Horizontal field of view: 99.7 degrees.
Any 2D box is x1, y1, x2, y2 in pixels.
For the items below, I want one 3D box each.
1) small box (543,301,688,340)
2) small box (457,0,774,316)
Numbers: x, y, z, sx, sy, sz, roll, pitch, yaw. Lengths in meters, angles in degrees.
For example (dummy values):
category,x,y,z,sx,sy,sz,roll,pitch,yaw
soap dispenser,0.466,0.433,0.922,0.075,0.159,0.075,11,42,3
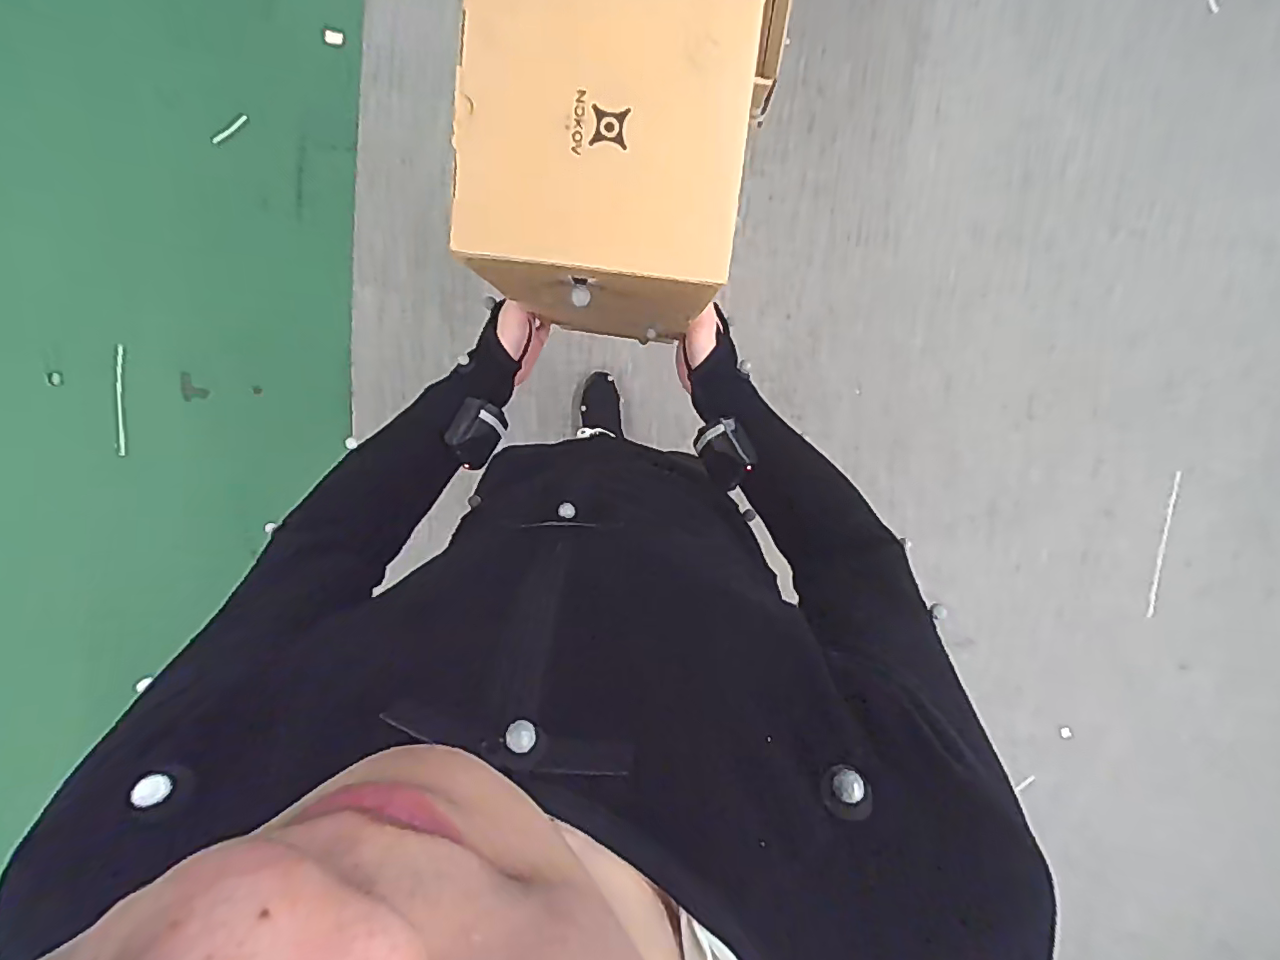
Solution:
category,x,y,z,sx,sy,sz,roll,pitch,yaw
small box,-0.020,-0.285,0.720,0.179,0.176,0.168,8,99,-1
small box,-0.019,-0.221,0.400,0.179,0.176,0.168,6,100,-1
